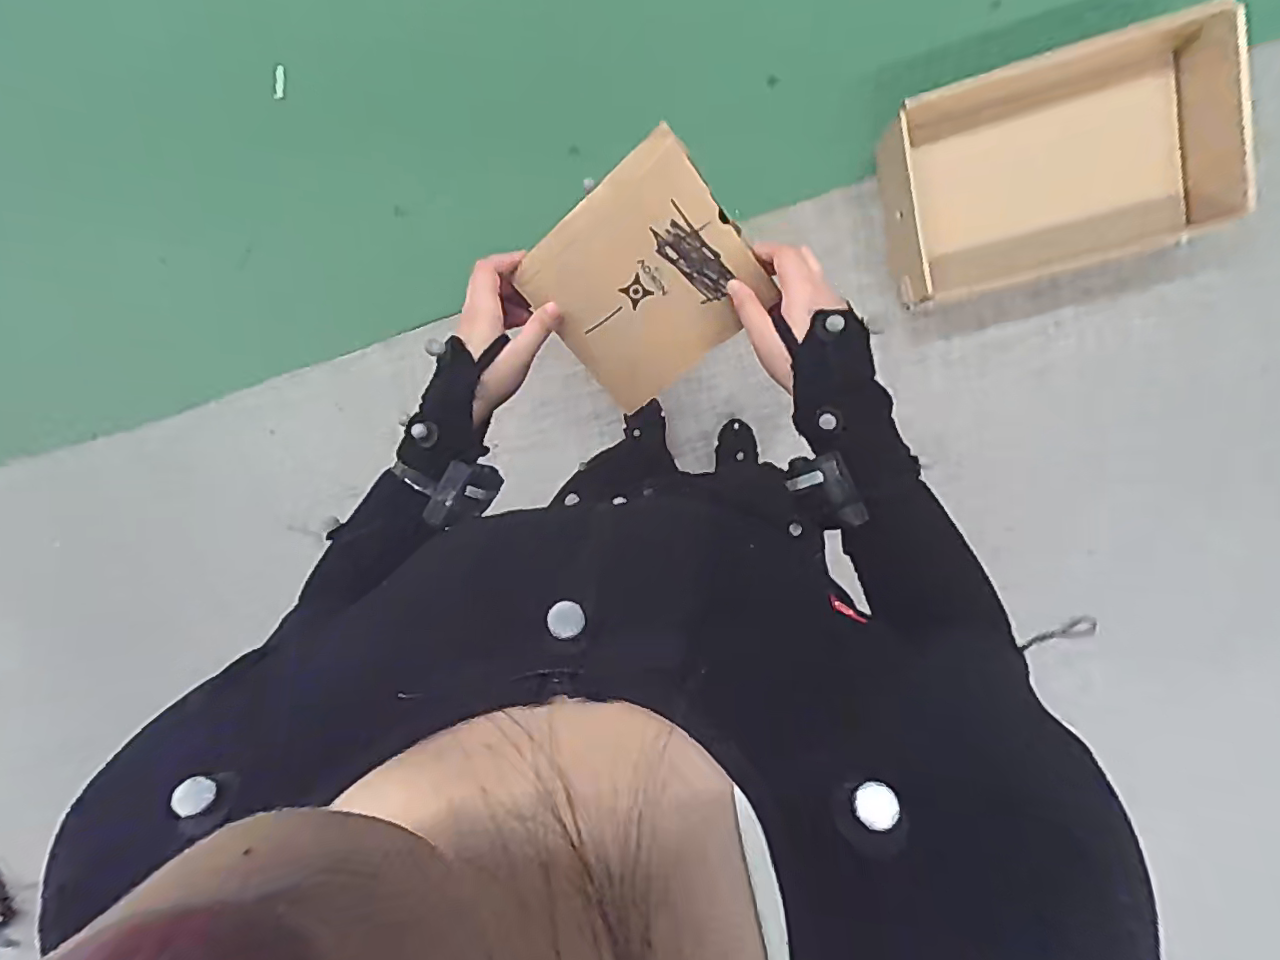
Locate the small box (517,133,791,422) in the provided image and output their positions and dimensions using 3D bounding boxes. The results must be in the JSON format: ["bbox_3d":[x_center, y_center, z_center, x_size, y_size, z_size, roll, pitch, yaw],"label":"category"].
[{"bbox_3d":[0.013,-0.192,0.522,0.179,0.176,0.168,-35,111,17],"label":"small box"}]
